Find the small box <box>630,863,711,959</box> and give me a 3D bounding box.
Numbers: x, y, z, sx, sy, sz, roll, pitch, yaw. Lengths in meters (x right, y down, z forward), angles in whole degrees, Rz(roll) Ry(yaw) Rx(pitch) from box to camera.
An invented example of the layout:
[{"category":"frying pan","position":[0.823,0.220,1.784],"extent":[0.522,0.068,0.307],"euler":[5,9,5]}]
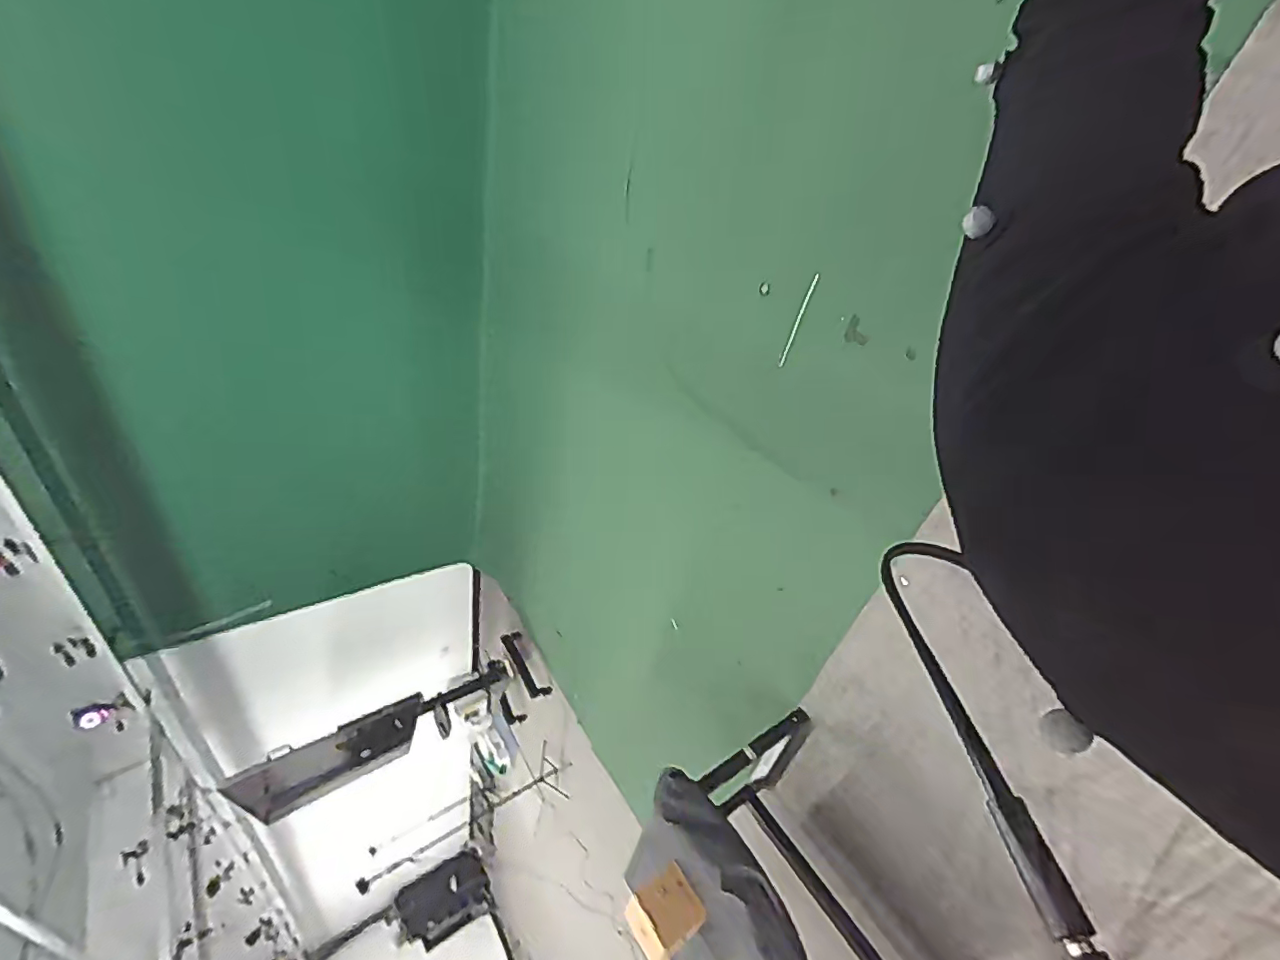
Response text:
[{"category":"small box","position":[0.094,1.321,1.649],"extent":[0.168,0.176,0.179],"euler":[43,137,39]}]
